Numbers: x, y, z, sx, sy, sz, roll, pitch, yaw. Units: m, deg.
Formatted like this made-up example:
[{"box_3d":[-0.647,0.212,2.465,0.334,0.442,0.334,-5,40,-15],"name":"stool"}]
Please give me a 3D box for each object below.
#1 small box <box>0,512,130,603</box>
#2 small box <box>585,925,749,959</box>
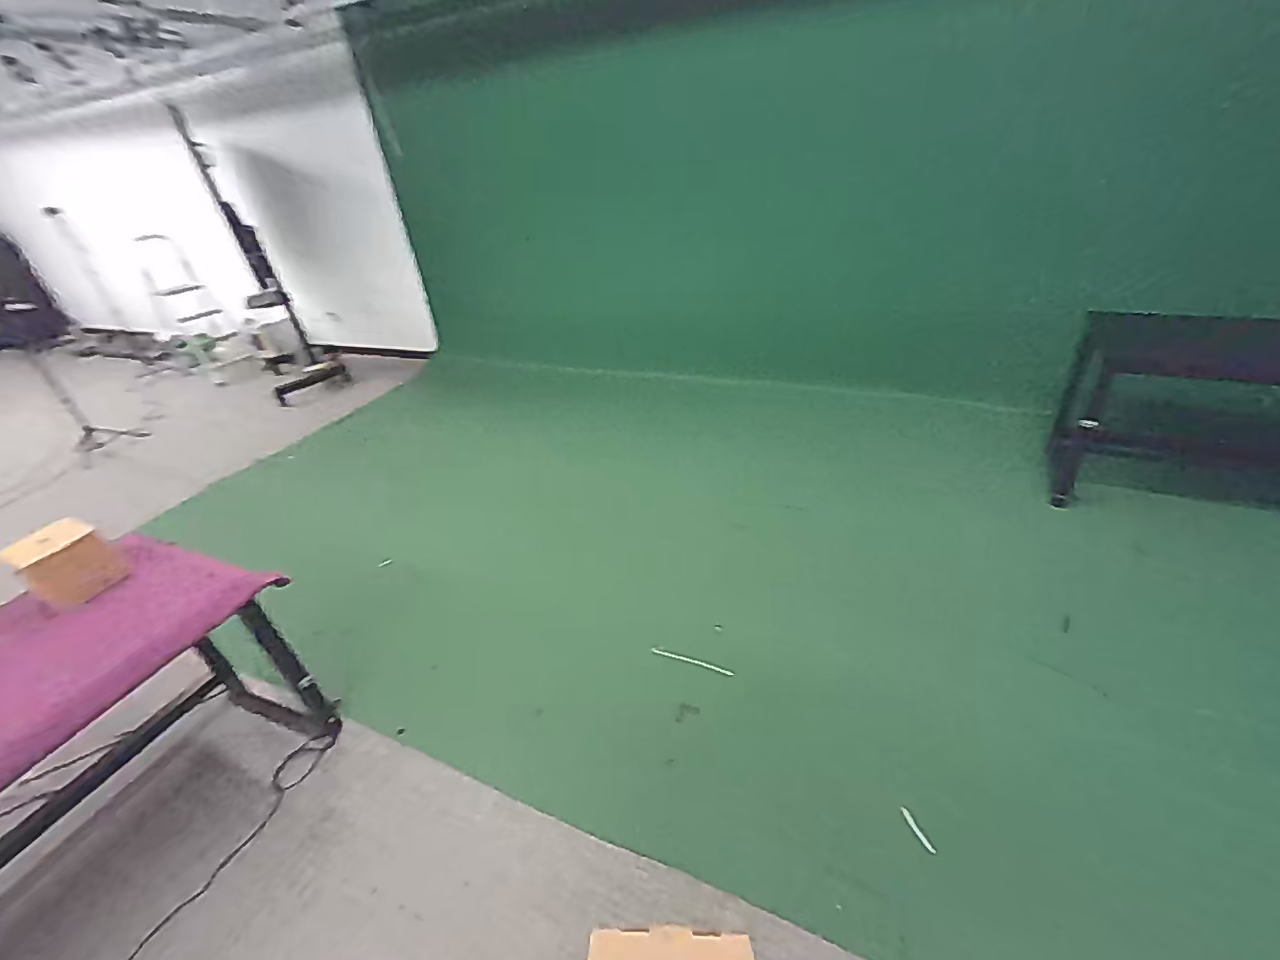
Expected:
[{"box_3d":[-1.593,0.215,1.501,0.179,0.176,0.168,11,40,23],"name":"small box"},{"box_3d":[0.021,0.566,0.506,0.168,0.176,0.179,2,25,0],"name":"small box"}]
